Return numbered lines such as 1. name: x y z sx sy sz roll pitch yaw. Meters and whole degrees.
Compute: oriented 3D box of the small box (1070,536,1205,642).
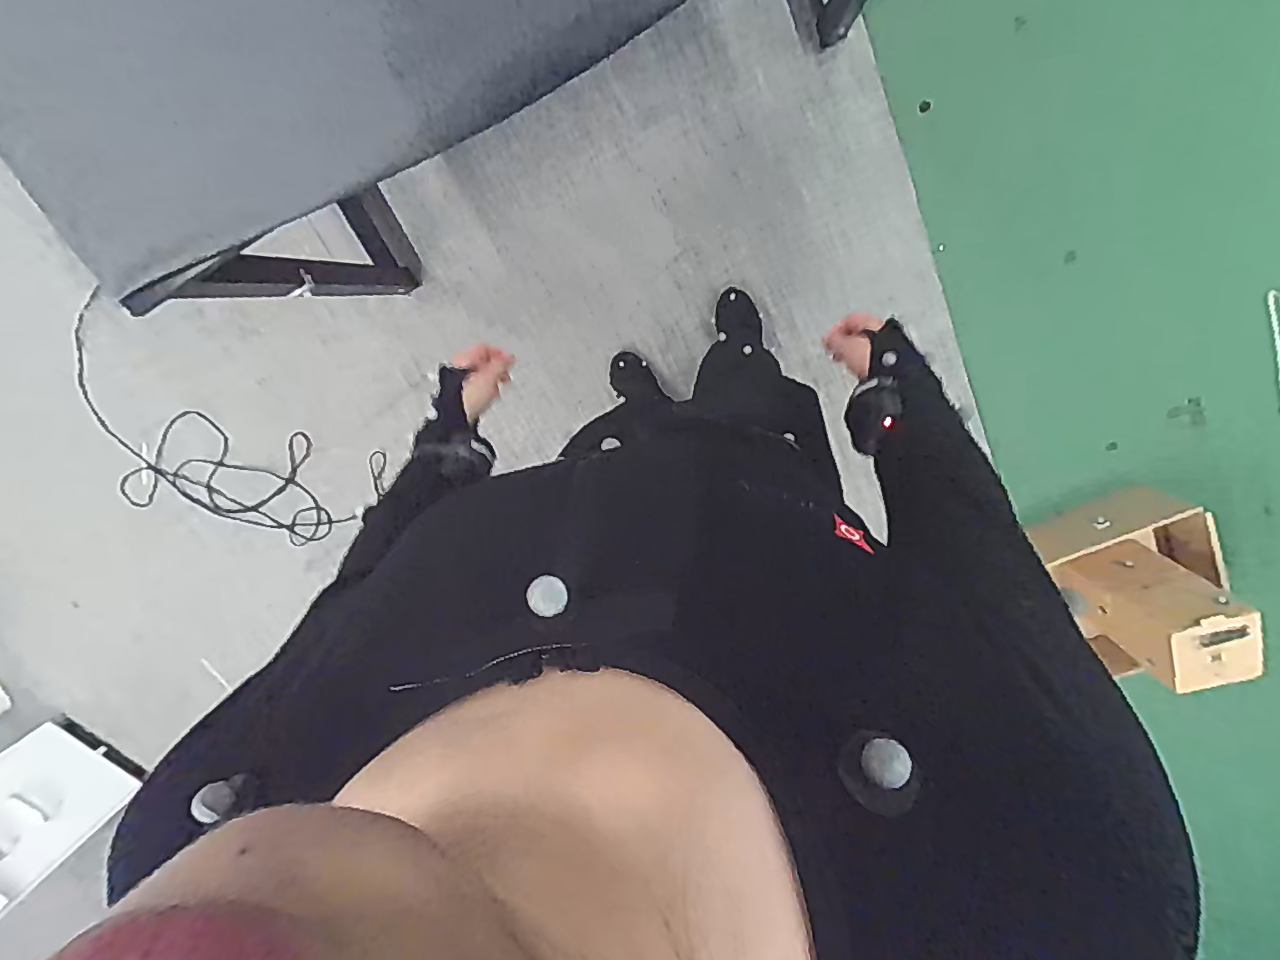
1. small box: 1.240 0.267 1.358 0.179 0.176 0.168 -25 107 13
